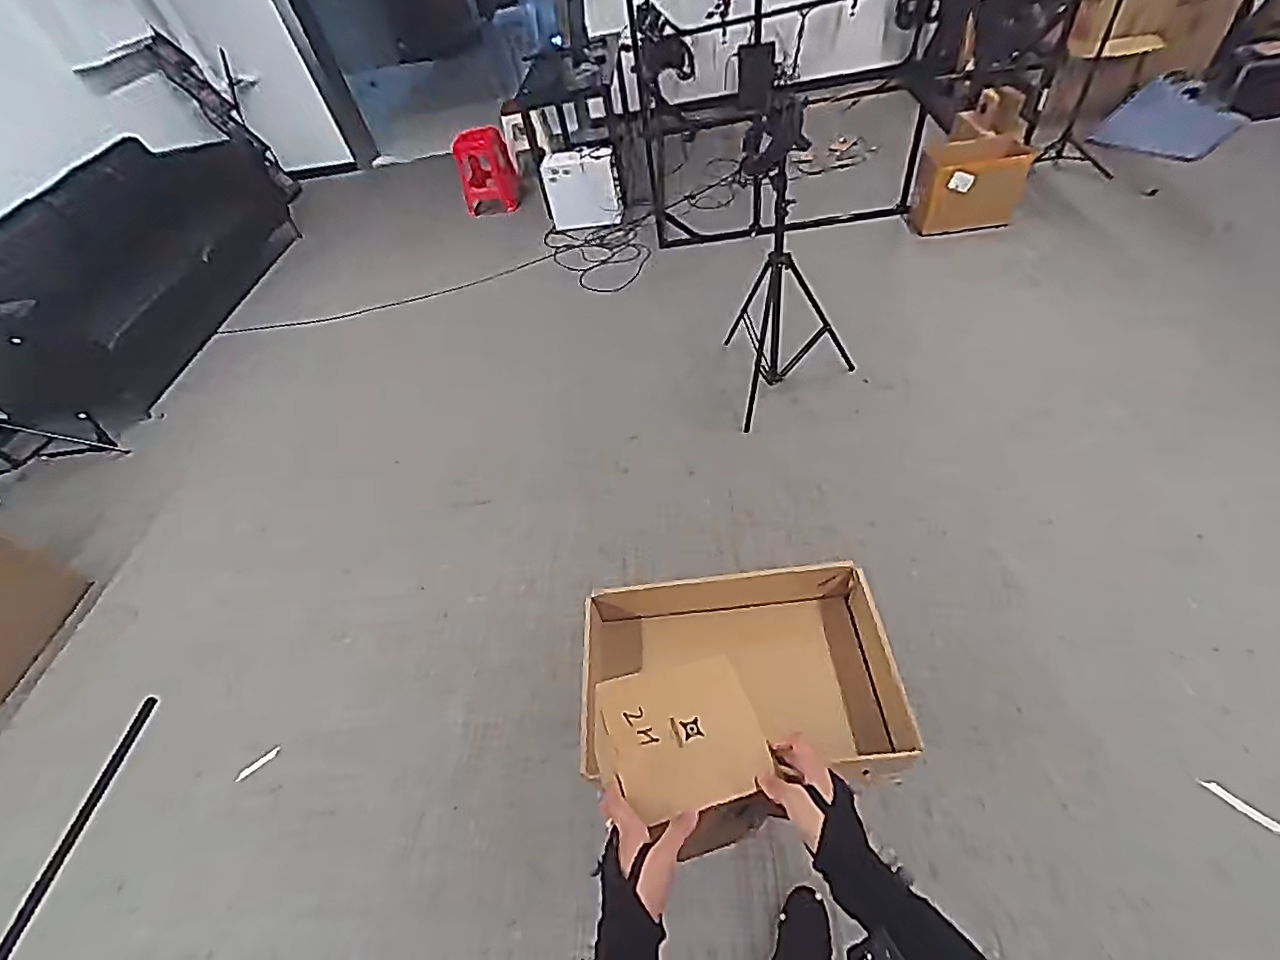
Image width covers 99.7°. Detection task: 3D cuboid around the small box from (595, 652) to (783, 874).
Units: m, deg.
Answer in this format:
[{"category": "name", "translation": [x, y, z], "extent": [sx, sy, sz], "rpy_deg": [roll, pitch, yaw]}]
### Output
[{"category": "small box", "translation": [0.045, 0.345, 0.664], "extent": [0.179, 0.176, 0.168], "rpy_deg": [-10, 41, -15]}]
